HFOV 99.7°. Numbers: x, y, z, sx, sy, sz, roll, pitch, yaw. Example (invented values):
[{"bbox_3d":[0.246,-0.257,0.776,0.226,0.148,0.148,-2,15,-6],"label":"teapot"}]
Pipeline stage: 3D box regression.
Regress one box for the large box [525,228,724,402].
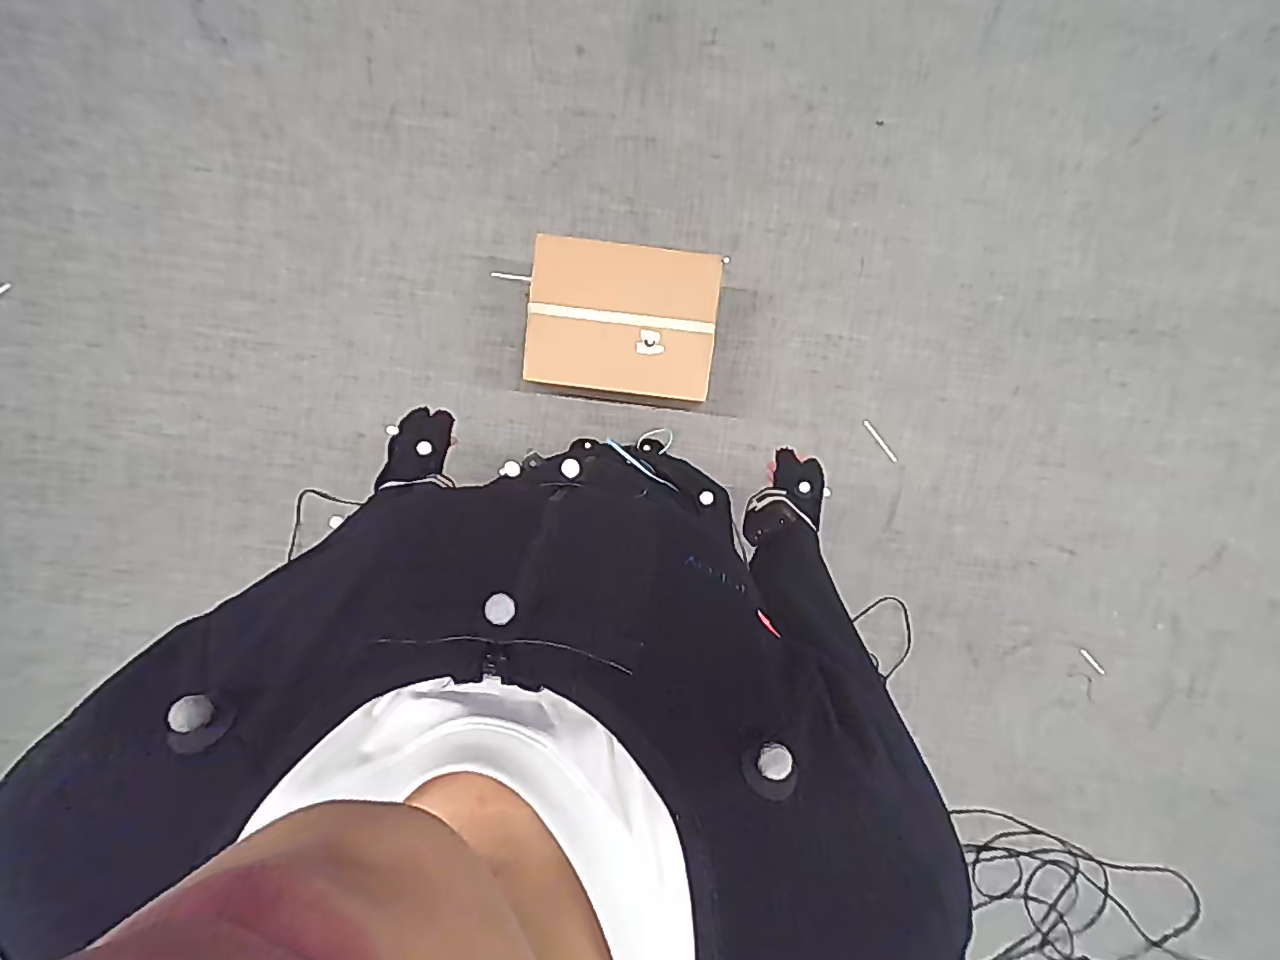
[{"bbox_3d":[-0.038,-0.373,1.304,0.408,0.320,0.320,7,95,-1],"label":"large box"}]
